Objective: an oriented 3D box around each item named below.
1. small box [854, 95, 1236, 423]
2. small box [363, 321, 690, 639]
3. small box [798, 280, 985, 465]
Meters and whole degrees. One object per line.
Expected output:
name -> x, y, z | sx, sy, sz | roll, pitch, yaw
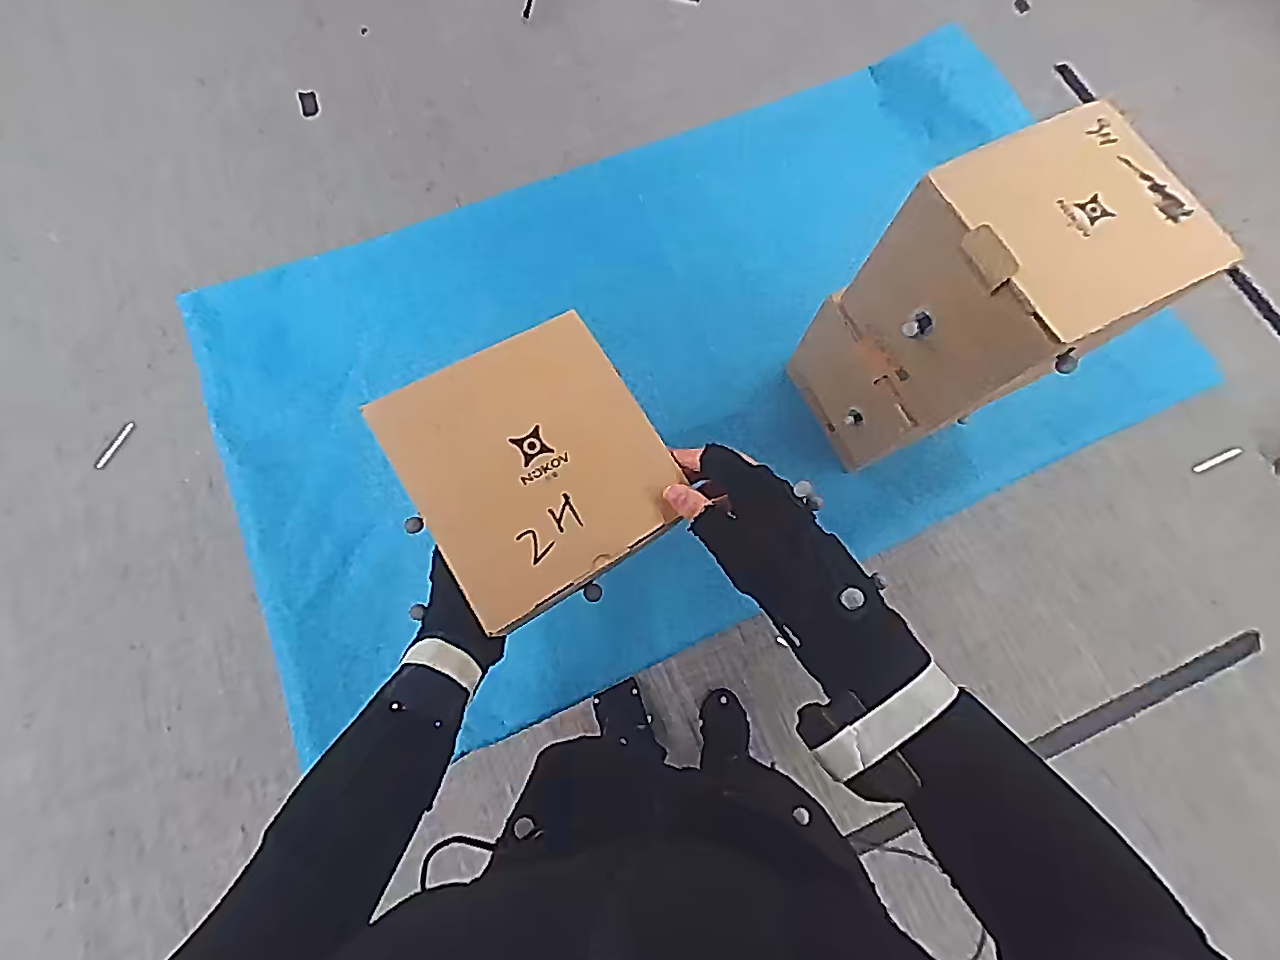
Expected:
small box -> 0.315, -0.175, 0.472 | 0.179, 0.176, 0.168 | -27, 77, -8
small box -> -0.088, 0.009, 0.441 | 0.168, 0.176, 0.179 | -27, 84, -14
small box -> 0.304, -0.136, 0.630 | 0.179, 0.176, 0.168 | -24, 77, -7
